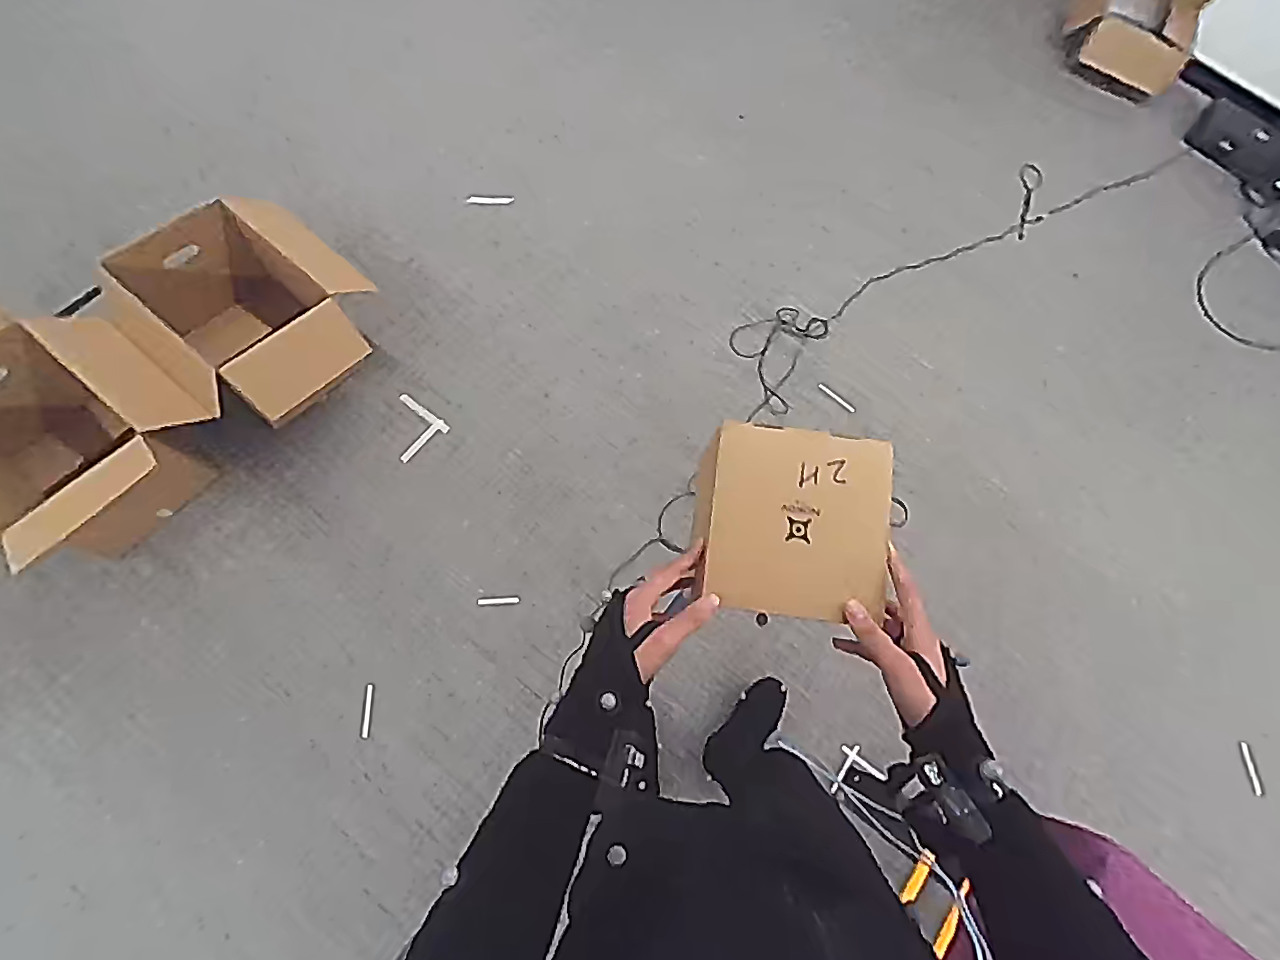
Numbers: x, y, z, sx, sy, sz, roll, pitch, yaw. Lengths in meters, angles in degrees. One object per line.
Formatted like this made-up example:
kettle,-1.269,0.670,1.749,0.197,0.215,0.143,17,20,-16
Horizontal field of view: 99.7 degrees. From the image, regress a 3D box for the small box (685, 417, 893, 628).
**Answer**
small box,0.141,0.048,0.566,0.168,0.176,0.179,7,81,0
